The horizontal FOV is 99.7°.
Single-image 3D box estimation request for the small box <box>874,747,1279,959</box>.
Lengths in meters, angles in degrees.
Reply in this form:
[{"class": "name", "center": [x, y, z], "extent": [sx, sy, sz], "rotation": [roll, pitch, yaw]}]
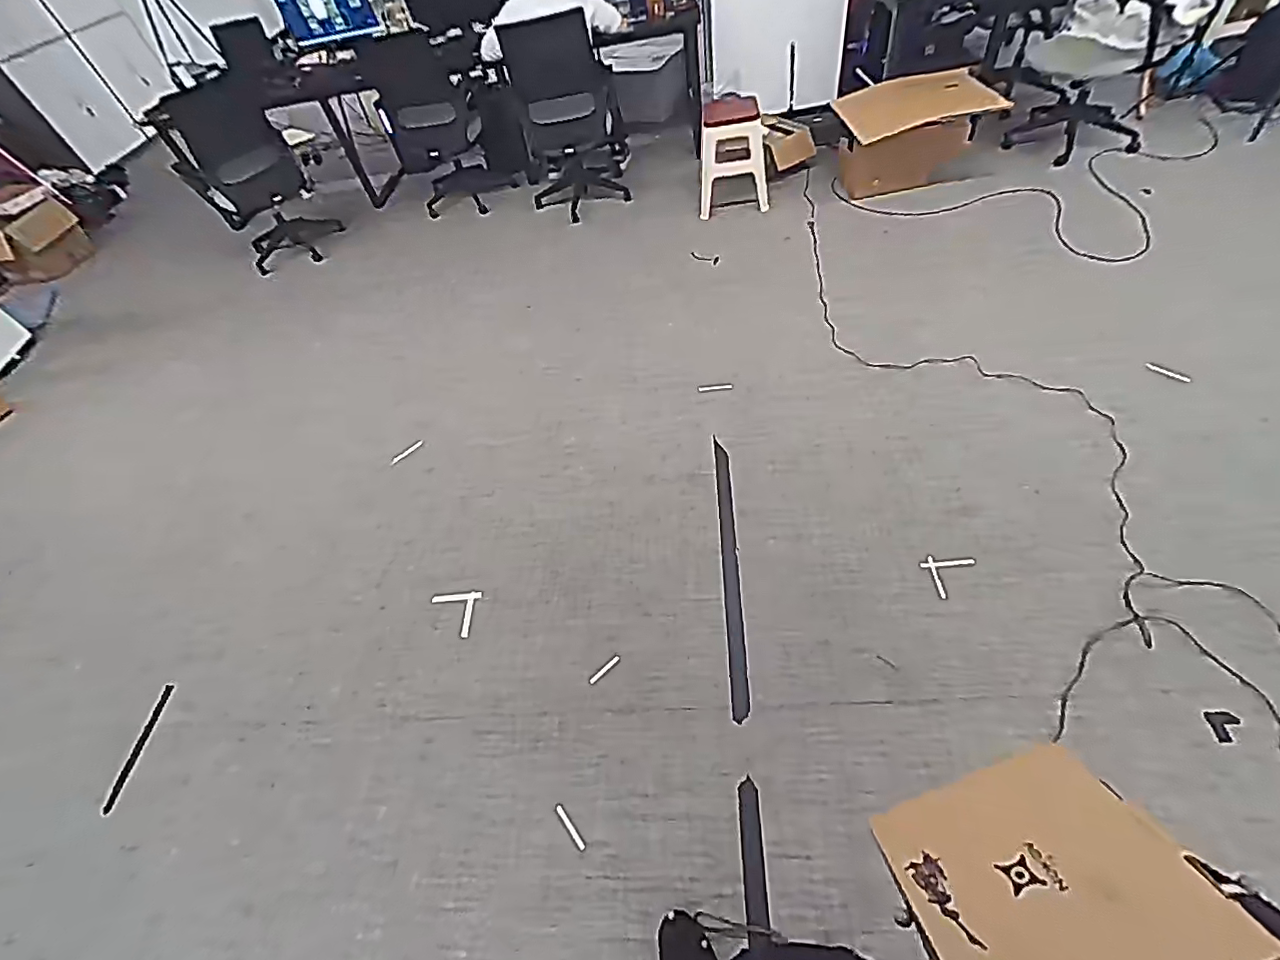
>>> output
[{"class": "small box", "center": [0.317, 0.353, 0.410], "extent": [0.179, 0.176, 0.168], "rotation": [-25, 13, 4]}]
